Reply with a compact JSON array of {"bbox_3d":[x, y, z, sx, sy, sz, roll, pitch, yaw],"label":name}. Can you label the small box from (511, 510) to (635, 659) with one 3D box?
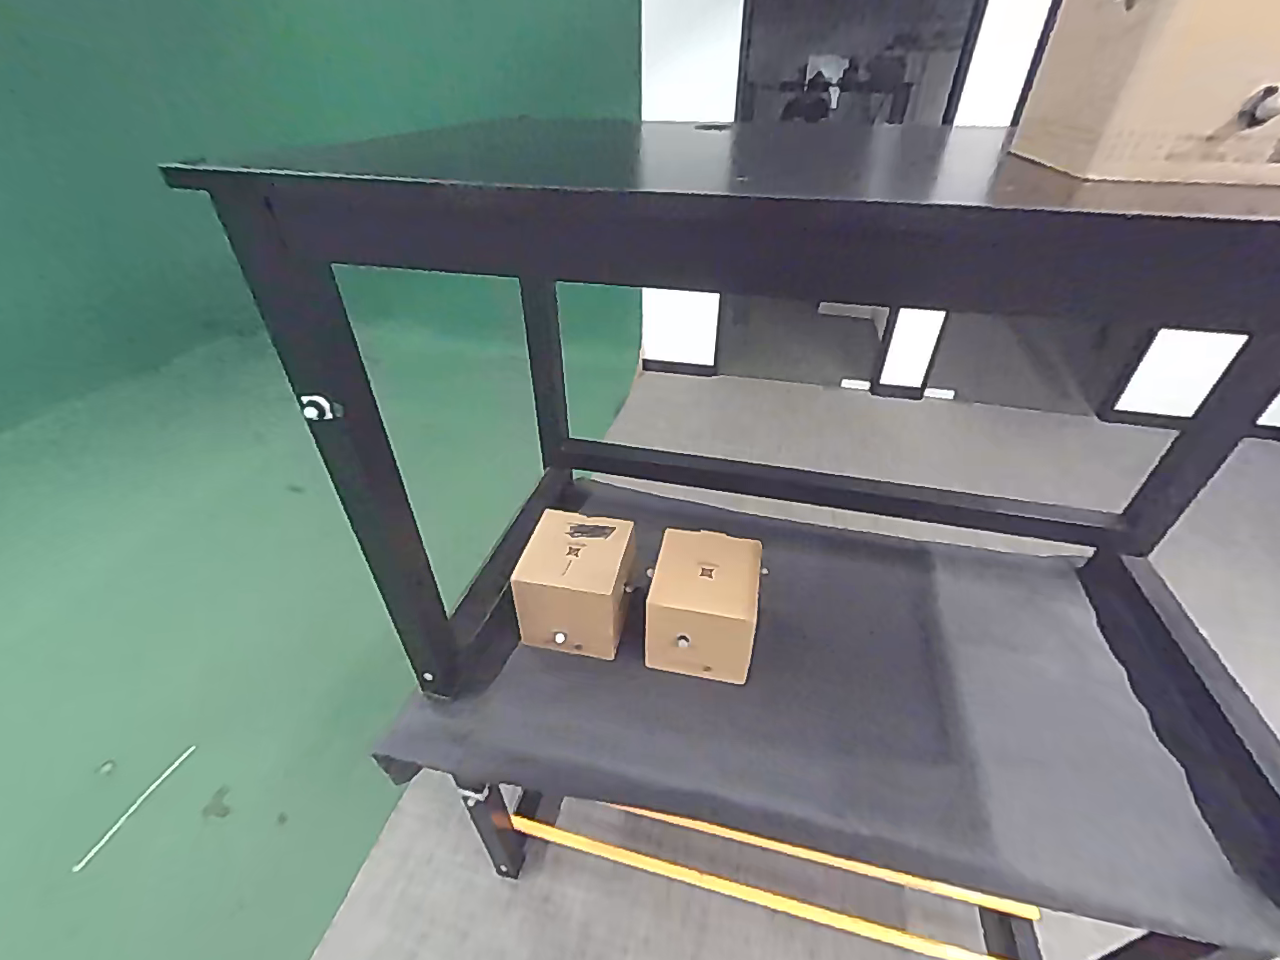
[{"bbox_3d":[-0.106,0.179,0.941,0.168,0.176,0.179,7,38,10],"label":"small box"}]
